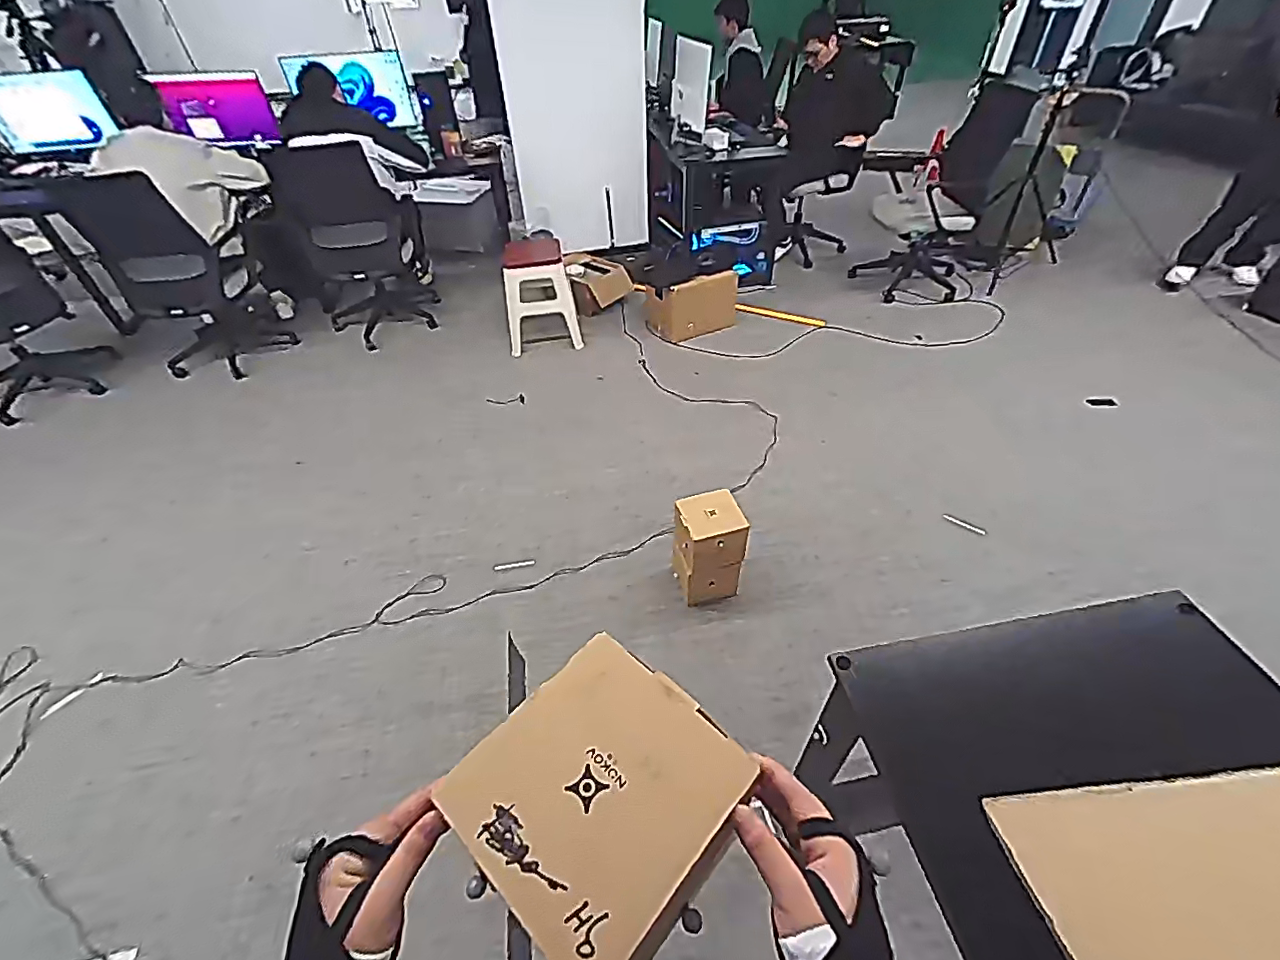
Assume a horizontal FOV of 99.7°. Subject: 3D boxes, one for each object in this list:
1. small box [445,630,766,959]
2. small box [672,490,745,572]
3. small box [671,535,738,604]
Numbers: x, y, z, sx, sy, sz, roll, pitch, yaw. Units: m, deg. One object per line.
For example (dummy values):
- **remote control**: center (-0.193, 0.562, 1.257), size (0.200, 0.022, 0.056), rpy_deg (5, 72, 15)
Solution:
- **small box**: center (-0.023, 0.268, 0.442), size (0.168, 0.176, 0.179), rpy_deg (31, 51, 31)
- **small box**: center (0.205, 0.159, 1.653), size (0.179, 0.176, 0.168), rpy_deg (-13, 45, -11)
- **small box**: center (0.204, 0.278, 1.764), size (0.179, 0.176, 0.168), rpy_deg (-12, 44, -8)
